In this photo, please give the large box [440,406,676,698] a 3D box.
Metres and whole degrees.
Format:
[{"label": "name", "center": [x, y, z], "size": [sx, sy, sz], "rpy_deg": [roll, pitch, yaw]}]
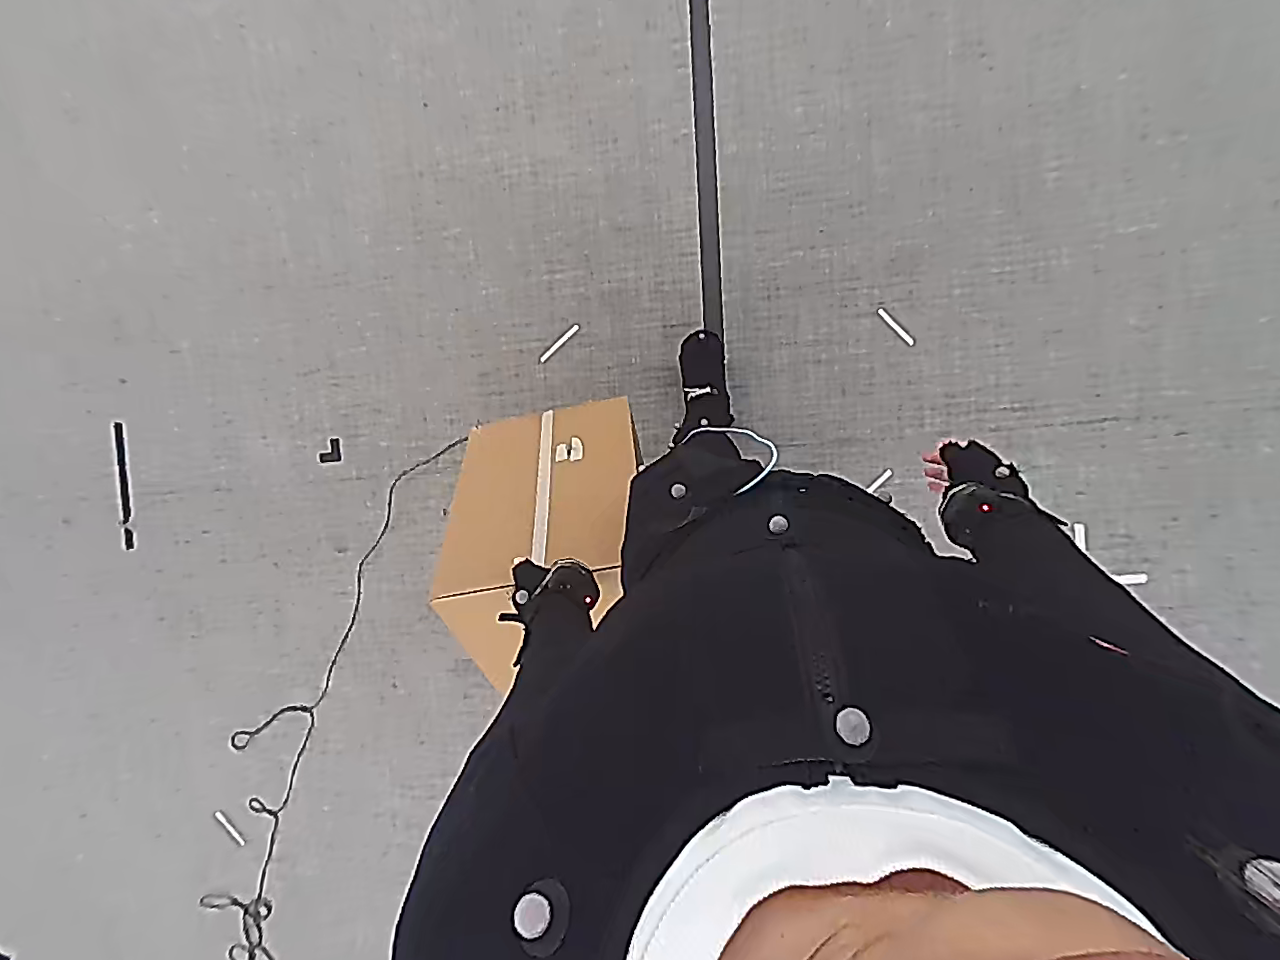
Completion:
[{"label": "large box", "center": [-0.127, 0.123, 1.000], "size": [0.320, 0.408, 0.320], "rpy_deg": [-10, 131, 3]}]
